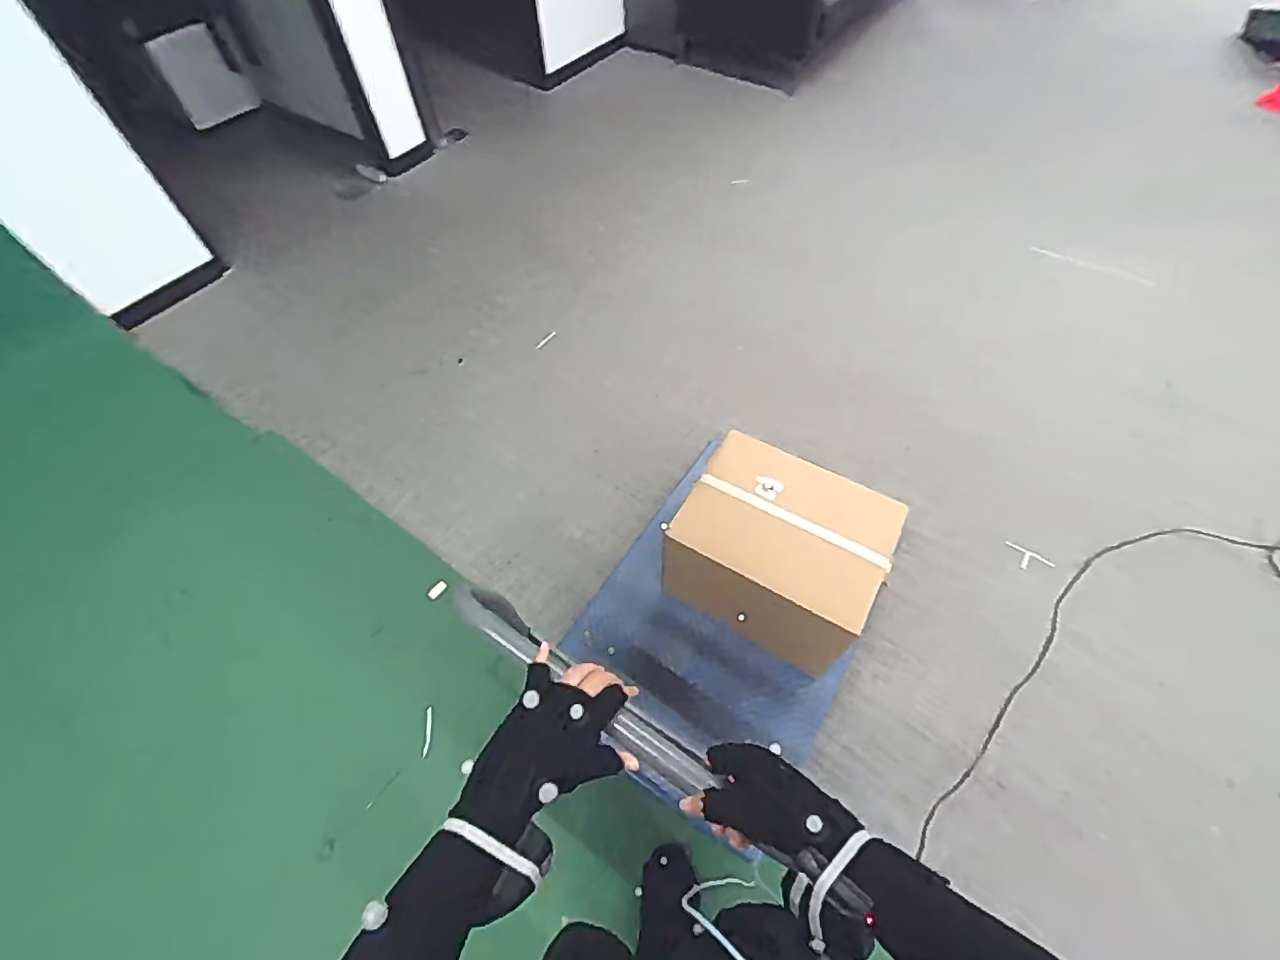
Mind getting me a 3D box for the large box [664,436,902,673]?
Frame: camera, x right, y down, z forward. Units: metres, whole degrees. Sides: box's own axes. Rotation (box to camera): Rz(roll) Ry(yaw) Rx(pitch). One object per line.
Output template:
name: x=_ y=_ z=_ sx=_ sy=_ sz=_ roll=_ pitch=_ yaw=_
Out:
large box: x=0.301 y=0.170 z=1.221 sx=0.408 sy=0.320 sz=0.320 roll=26 pitch=60 yaw=18
